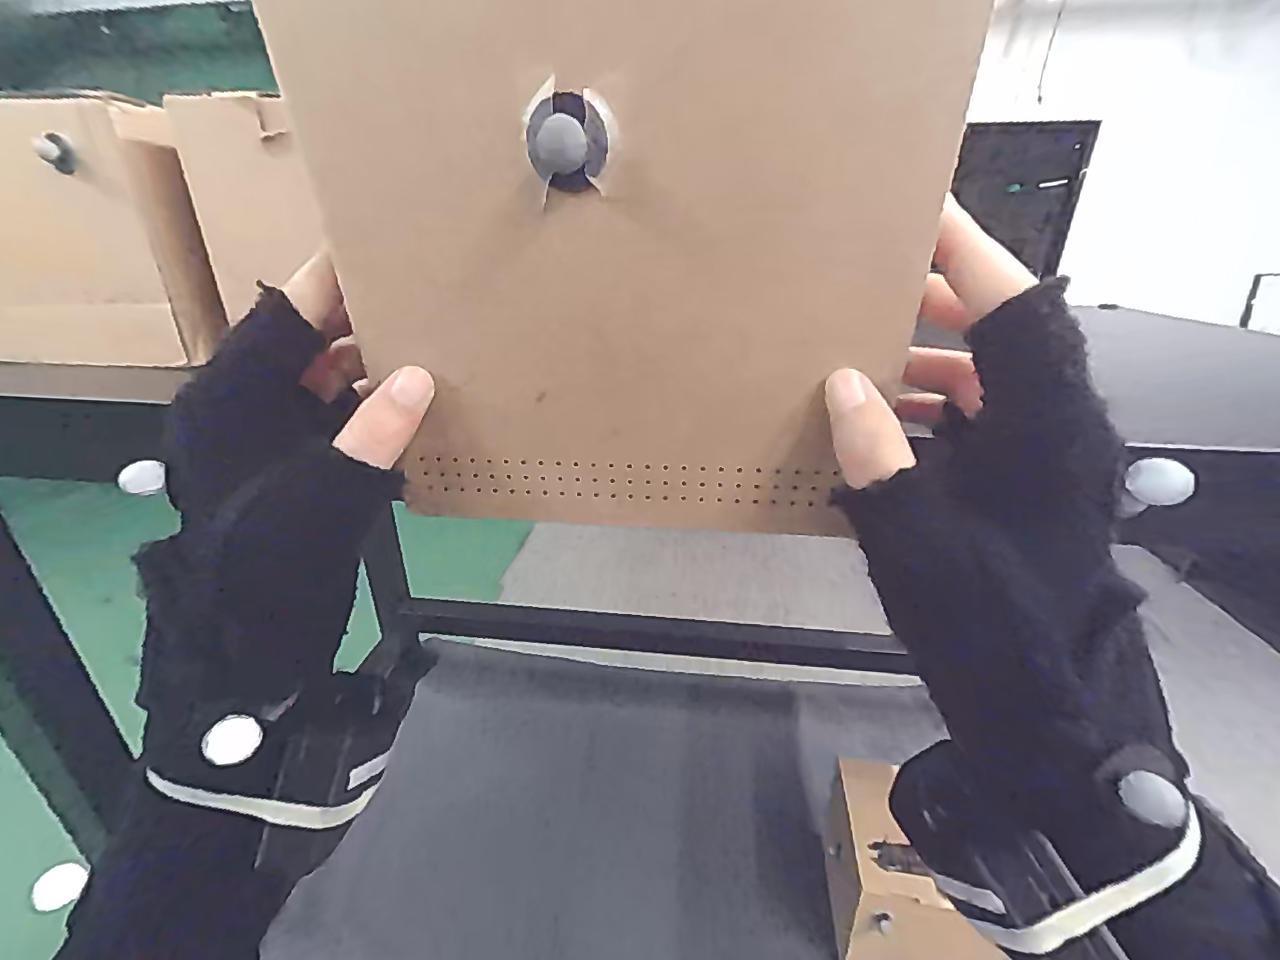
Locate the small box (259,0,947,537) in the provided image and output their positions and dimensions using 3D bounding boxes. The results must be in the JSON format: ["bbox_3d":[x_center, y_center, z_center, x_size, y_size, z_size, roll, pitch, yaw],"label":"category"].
[{"bbox_3d":[-0.002,-0.090,0.235,0.179,0.176,0.168,3,32,6],"label":"small box"}]

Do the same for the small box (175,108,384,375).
[{"bbox_3d":[-0.202,-0.183,0.437,0.168,0.176,0.179,2,23,5],"label":"small box"}]
